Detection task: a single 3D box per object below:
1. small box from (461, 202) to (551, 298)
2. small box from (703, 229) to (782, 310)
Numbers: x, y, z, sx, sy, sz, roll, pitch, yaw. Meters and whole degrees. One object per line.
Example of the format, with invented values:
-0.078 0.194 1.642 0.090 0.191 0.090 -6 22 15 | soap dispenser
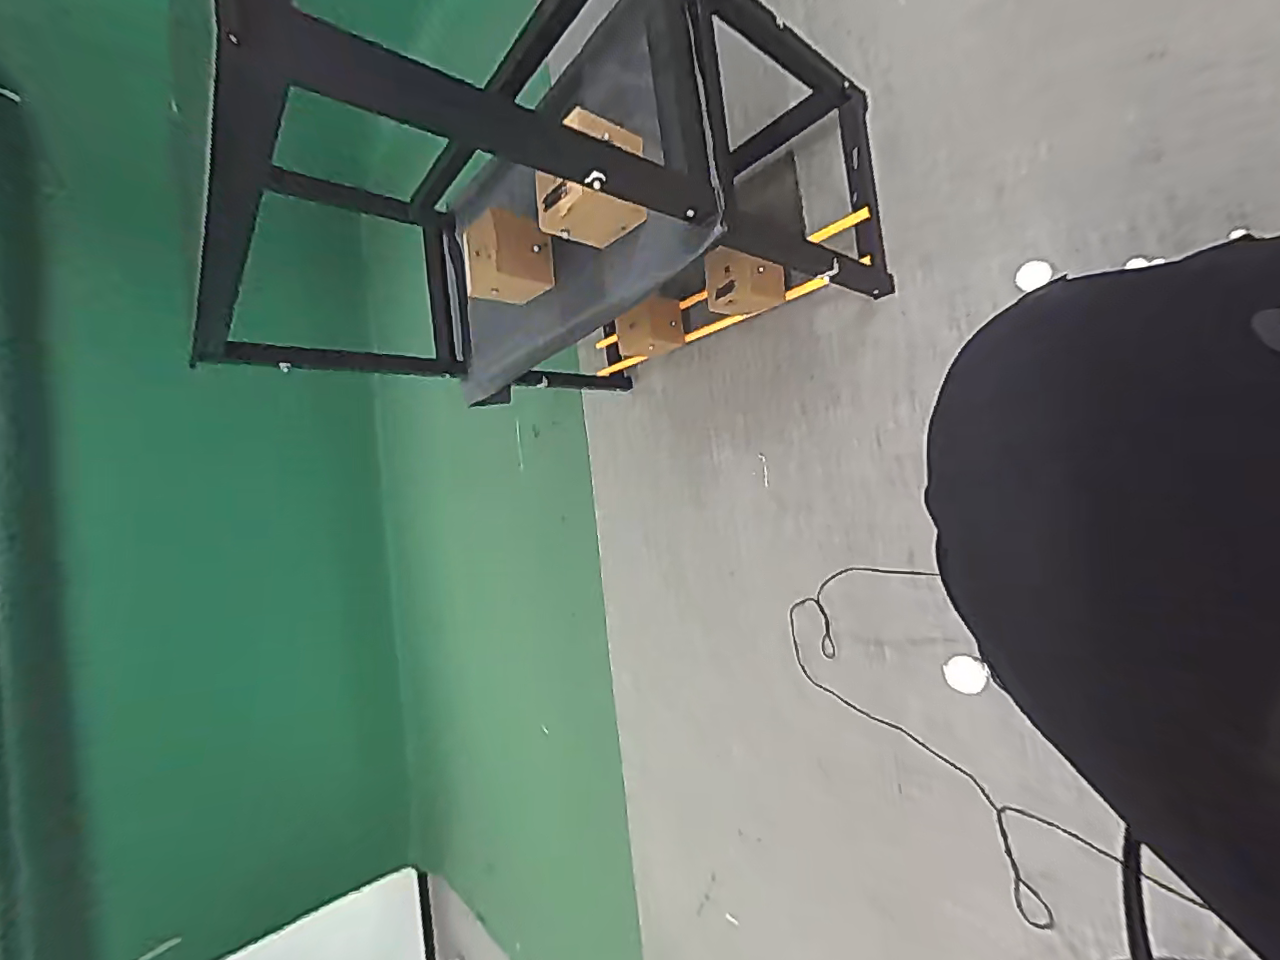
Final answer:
-0.350 -0.590 1.417 0.179 0.176 0.168 -5 90 49 | small box
0.309 -0.616 1.611 0.168 0.176 0.179 -4 91 48 | small box
